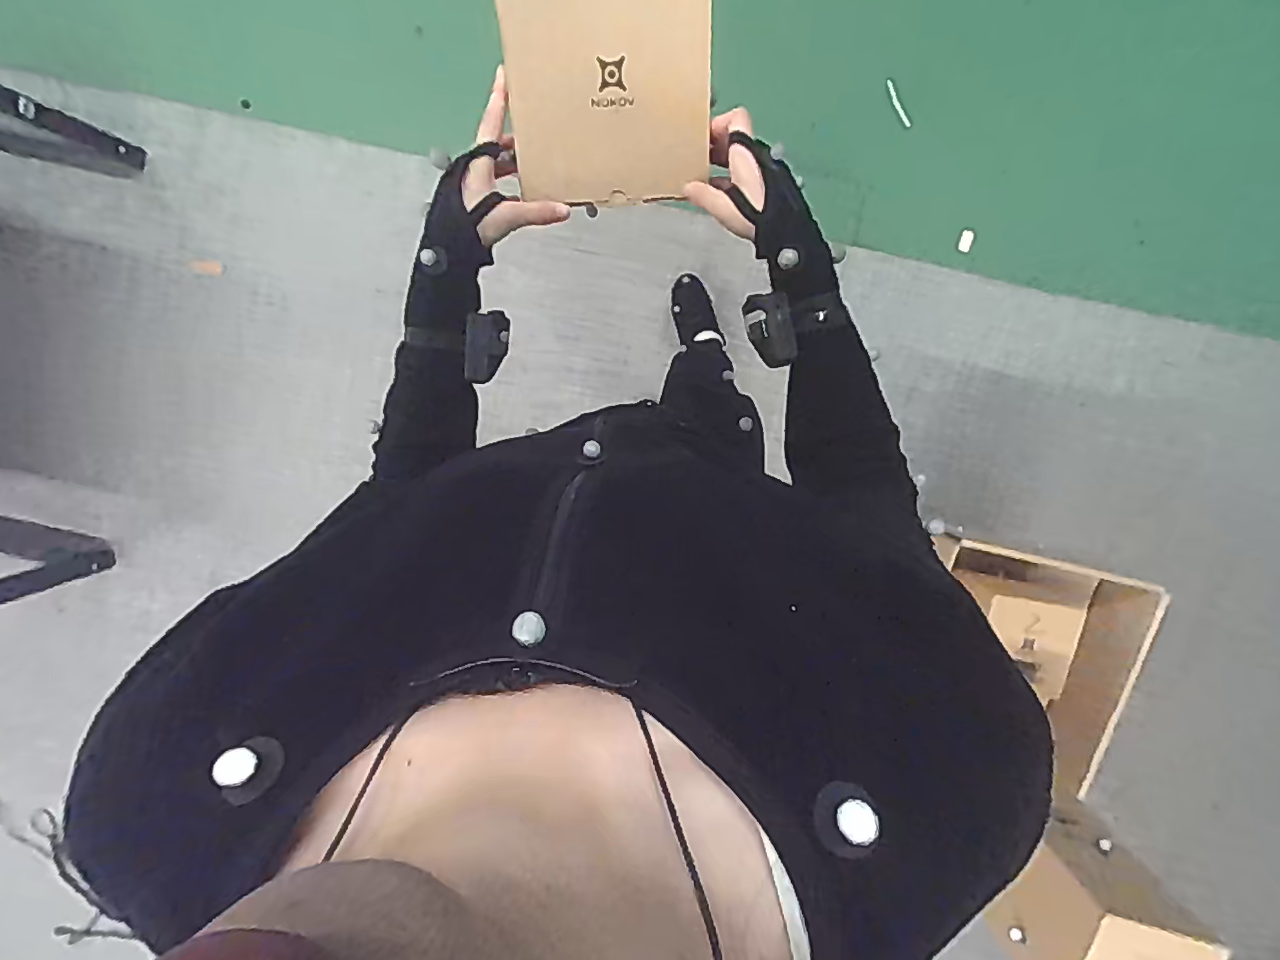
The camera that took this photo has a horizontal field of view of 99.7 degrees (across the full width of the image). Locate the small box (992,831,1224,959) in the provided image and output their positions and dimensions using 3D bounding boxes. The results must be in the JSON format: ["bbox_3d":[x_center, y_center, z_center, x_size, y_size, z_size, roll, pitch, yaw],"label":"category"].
[{"bbox_3d":[0.618,0.627,0.727,0.168,0.176,0.179,17,99,0],"label":"small box"}]

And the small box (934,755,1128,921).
[{"bbox_3d":[0.620,0.594,0.886,0.168,0.176,0.179,17,100,1],"label":"small box"}]

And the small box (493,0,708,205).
[{"bbox_3d":[-0.040,-0.355,0.497,0.168,0.176,0.179,-8,118,-7],"label":"small box"}]
